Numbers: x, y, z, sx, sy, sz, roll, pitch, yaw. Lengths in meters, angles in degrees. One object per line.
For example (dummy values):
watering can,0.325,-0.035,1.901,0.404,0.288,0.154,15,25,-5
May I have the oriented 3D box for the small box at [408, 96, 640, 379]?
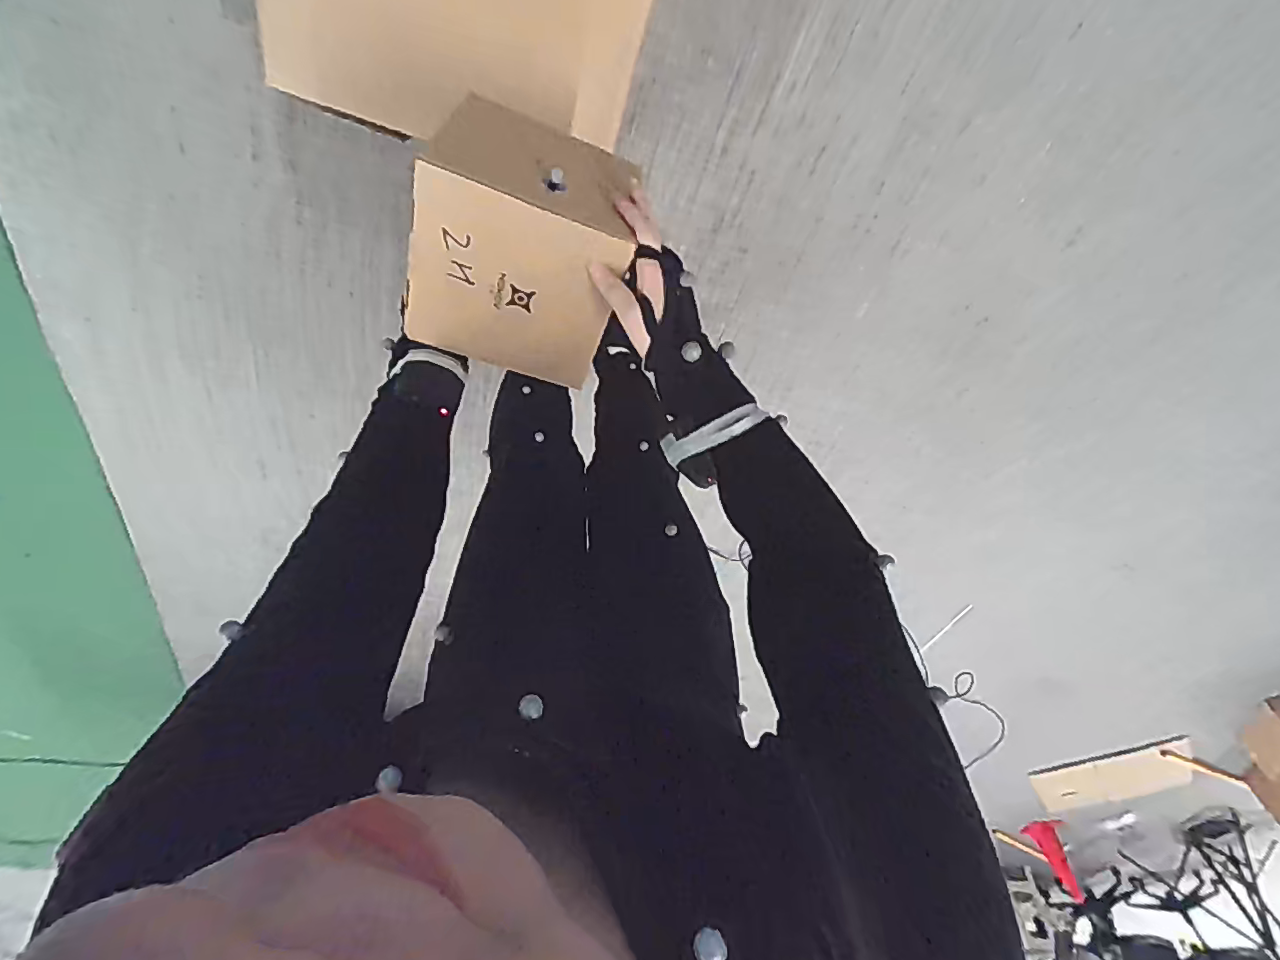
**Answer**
small box,-0.106,-0.234,0.526,0.179,0.176,0.168,16,137,-15
